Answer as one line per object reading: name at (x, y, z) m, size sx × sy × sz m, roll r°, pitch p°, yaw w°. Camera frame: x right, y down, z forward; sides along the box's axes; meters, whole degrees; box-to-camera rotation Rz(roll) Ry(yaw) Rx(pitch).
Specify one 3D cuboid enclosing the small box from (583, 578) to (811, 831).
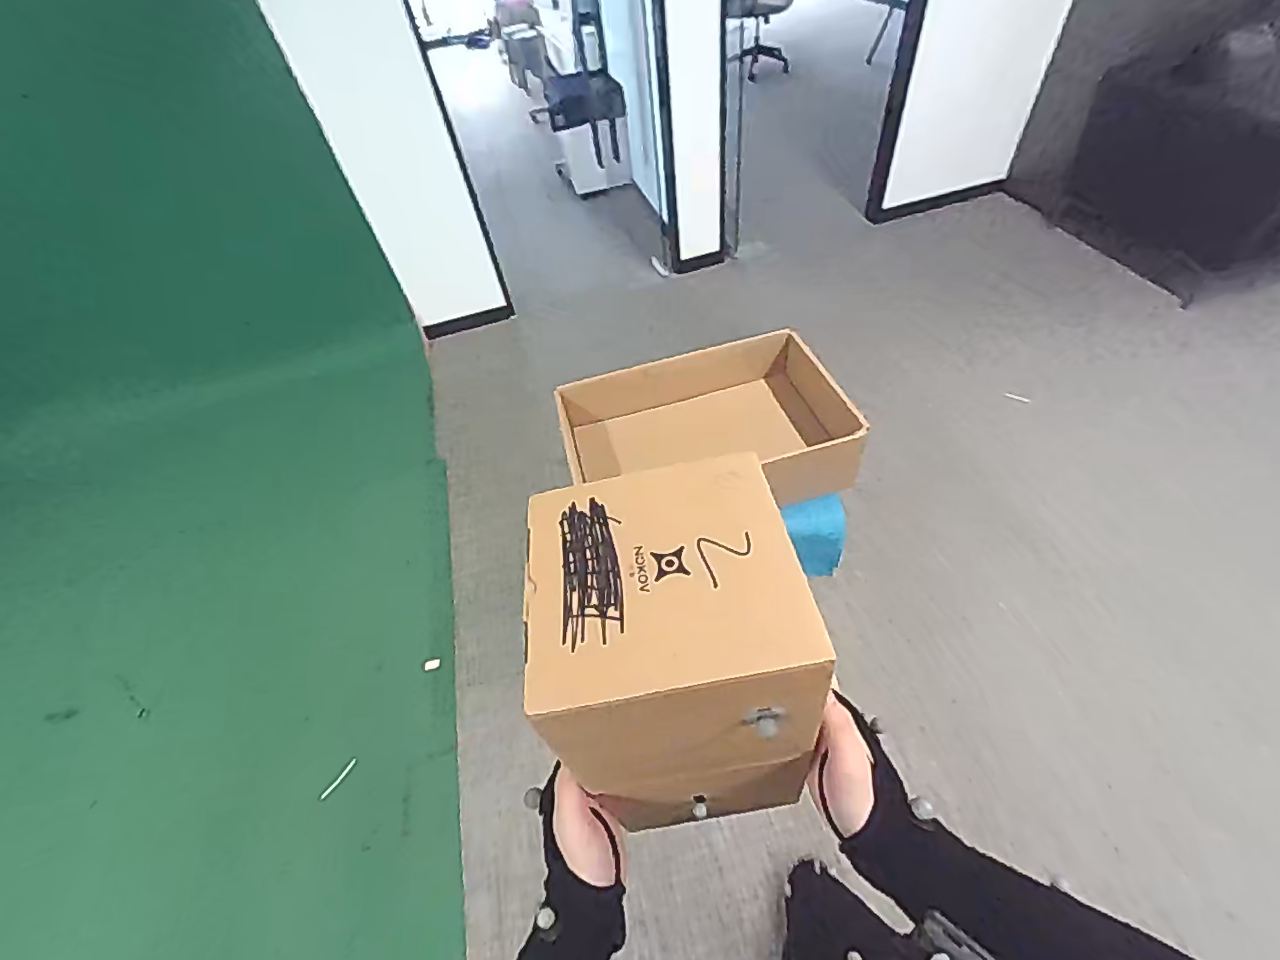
small box at (0.050, 0.222, 0.527) m, size 0.179 × 0.176 × 0.168 m, roll -12°, pitch 46°, yaw 2°
